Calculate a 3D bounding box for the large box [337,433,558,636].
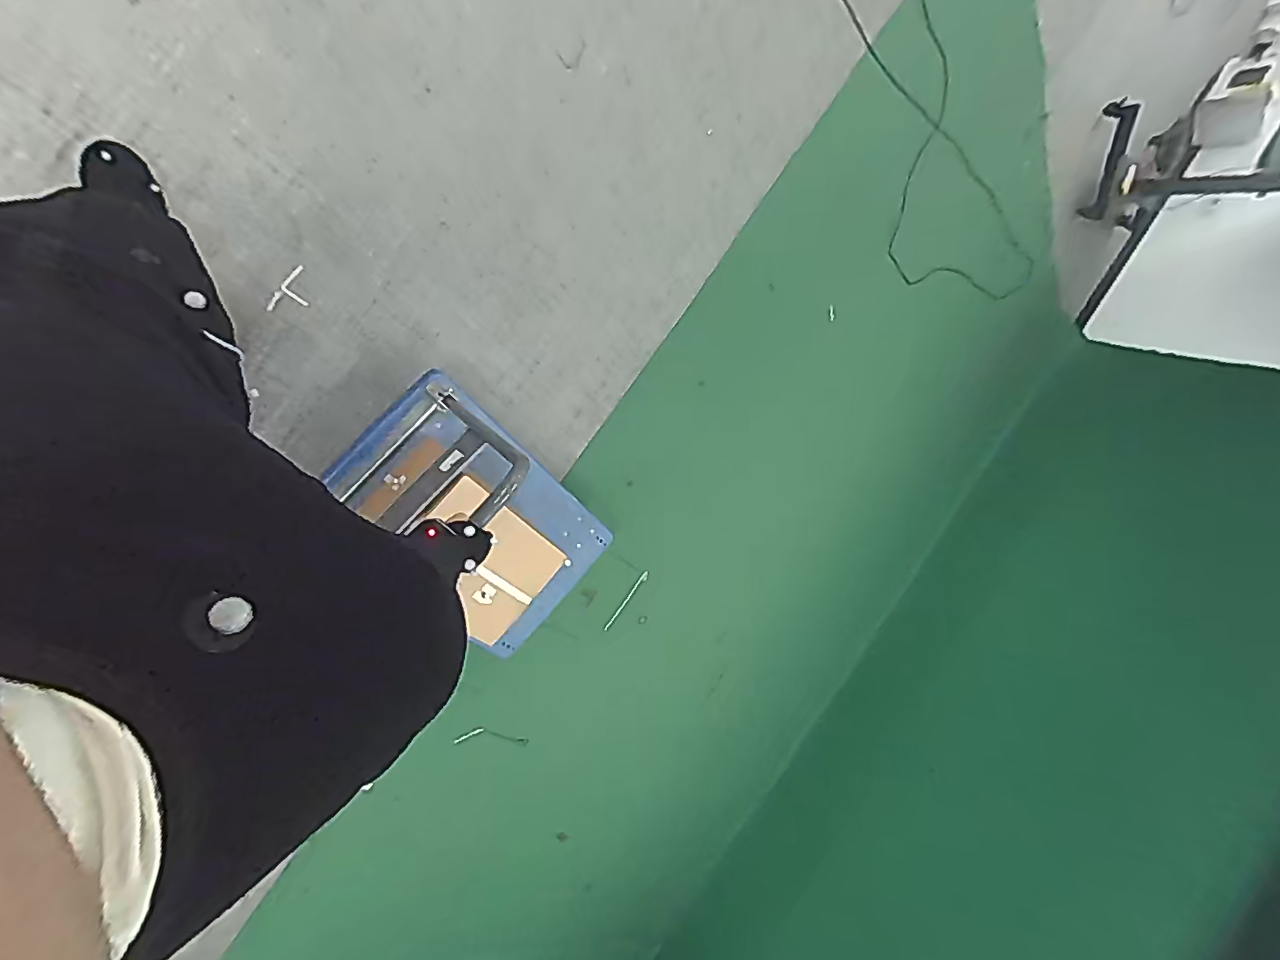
[{"bbox_3d":[-0.506,0.140,1.437,0.320,0.320,0.408,-48,132,-8],"label":"large box"}]
